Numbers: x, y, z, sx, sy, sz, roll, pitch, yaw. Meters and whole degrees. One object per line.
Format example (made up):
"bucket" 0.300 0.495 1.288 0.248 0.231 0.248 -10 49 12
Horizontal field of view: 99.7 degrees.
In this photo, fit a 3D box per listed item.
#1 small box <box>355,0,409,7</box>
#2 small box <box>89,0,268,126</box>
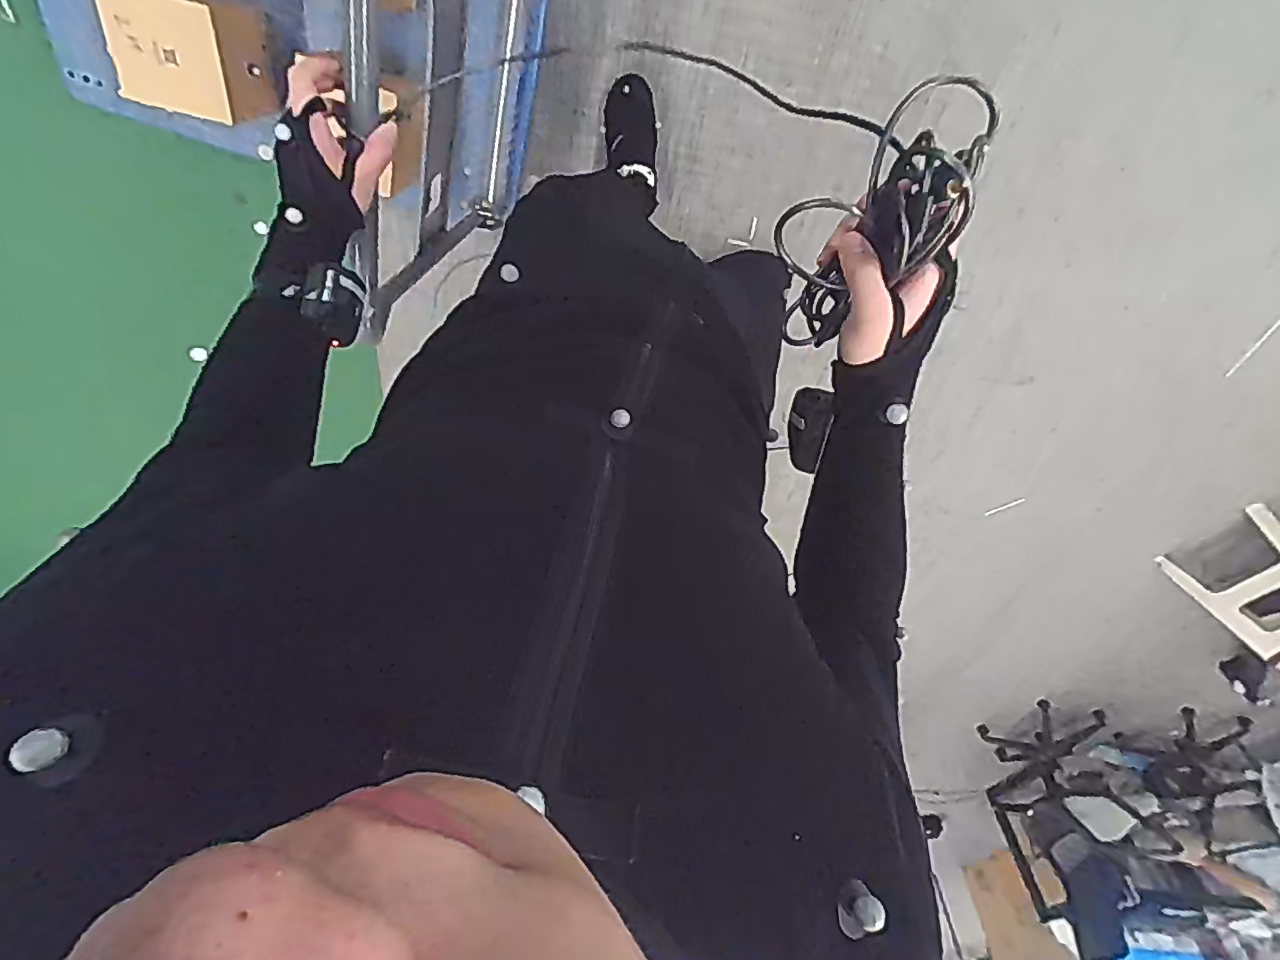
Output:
"small box" -0.464 -0.865 0.834 0.179 0.176 0.168 14 130 -13
"small box" -0.779 -0.745 0.937 0.179 0.176 0.168 11 129 -10
